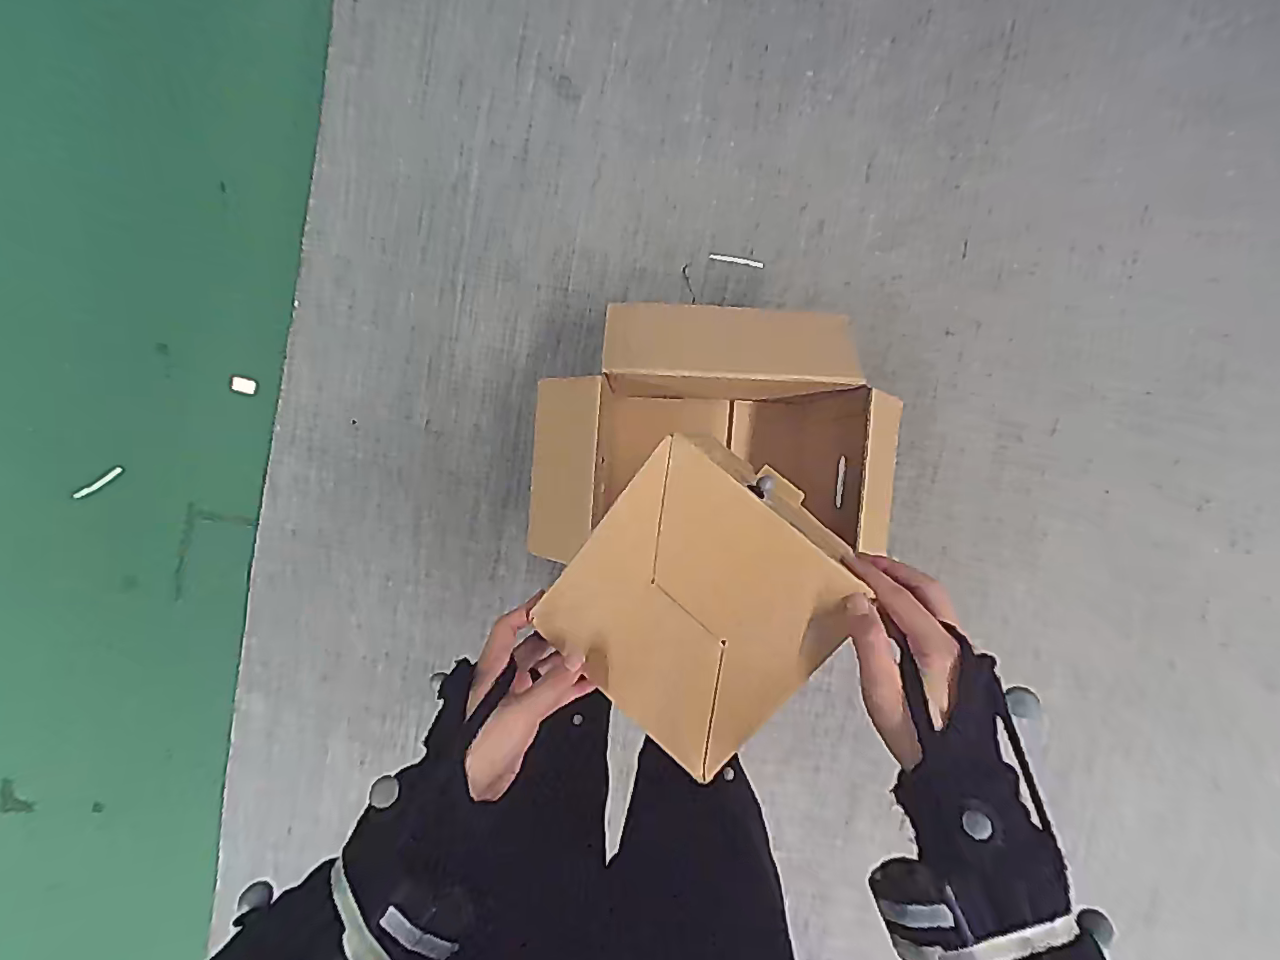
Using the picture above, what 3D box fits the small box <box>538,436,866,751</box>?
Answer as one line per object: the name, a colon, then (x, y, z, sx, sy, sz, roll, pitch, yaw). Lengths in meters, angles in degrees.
small box: (0.050, 0.078, 0.431, 0.168, 0.176, 0.179, 40, 104, 9)
